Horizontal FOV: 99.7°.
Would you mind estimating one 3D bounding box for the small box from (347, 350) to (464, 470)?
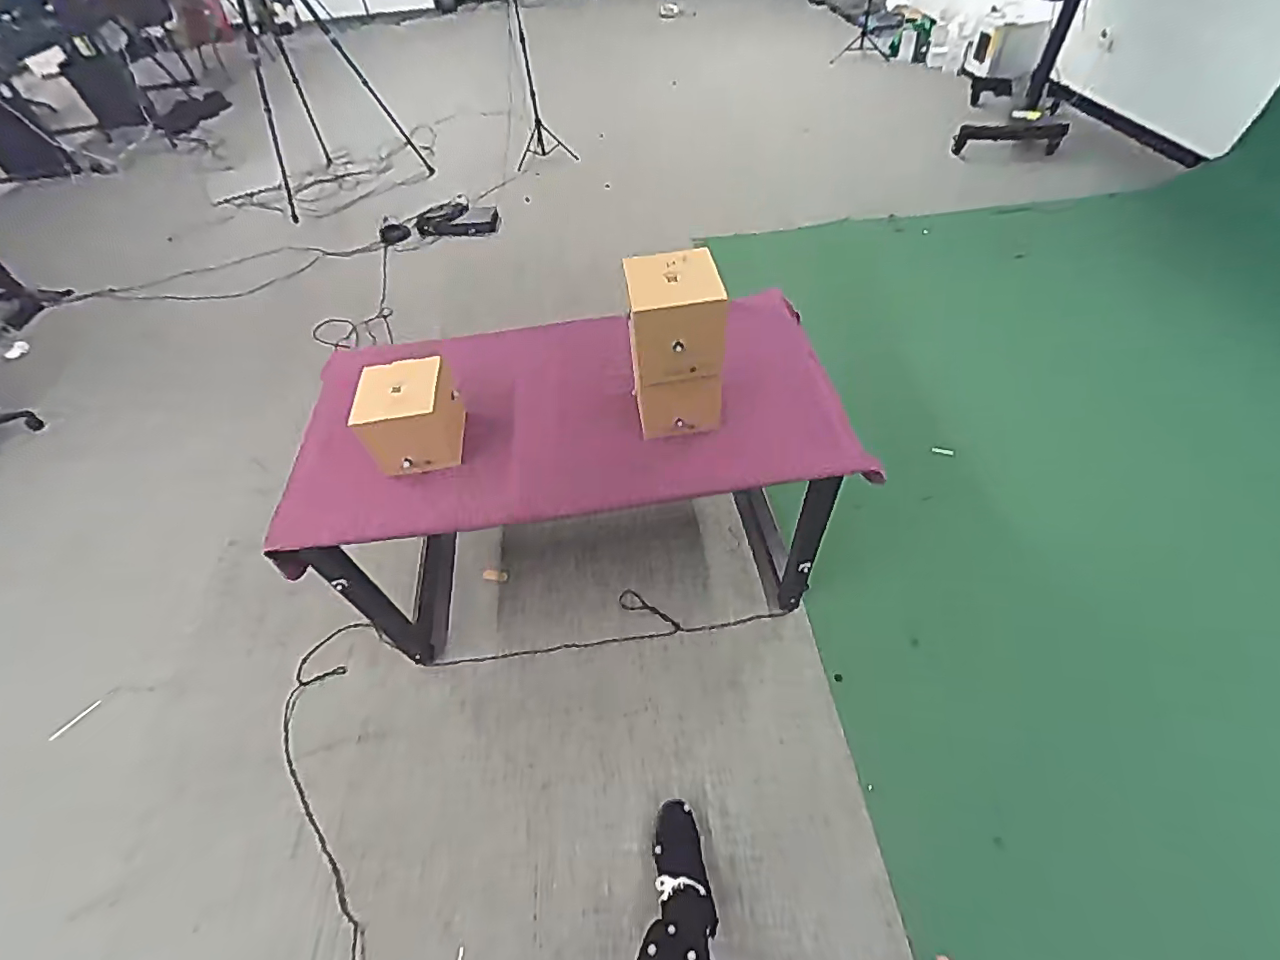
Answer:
[{"bbox_3d":[-0.479,-0.145,1.135,0.168,0.176,0.179,-8,52,-1],"label":"small box"}]

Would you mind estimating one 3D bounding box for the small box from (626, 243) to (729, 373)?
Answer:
[{"bbox_3d":[0.068,-0.315,1.016,0.168,0.176,0.179,-7,51,-1],"label":"small box"}]
